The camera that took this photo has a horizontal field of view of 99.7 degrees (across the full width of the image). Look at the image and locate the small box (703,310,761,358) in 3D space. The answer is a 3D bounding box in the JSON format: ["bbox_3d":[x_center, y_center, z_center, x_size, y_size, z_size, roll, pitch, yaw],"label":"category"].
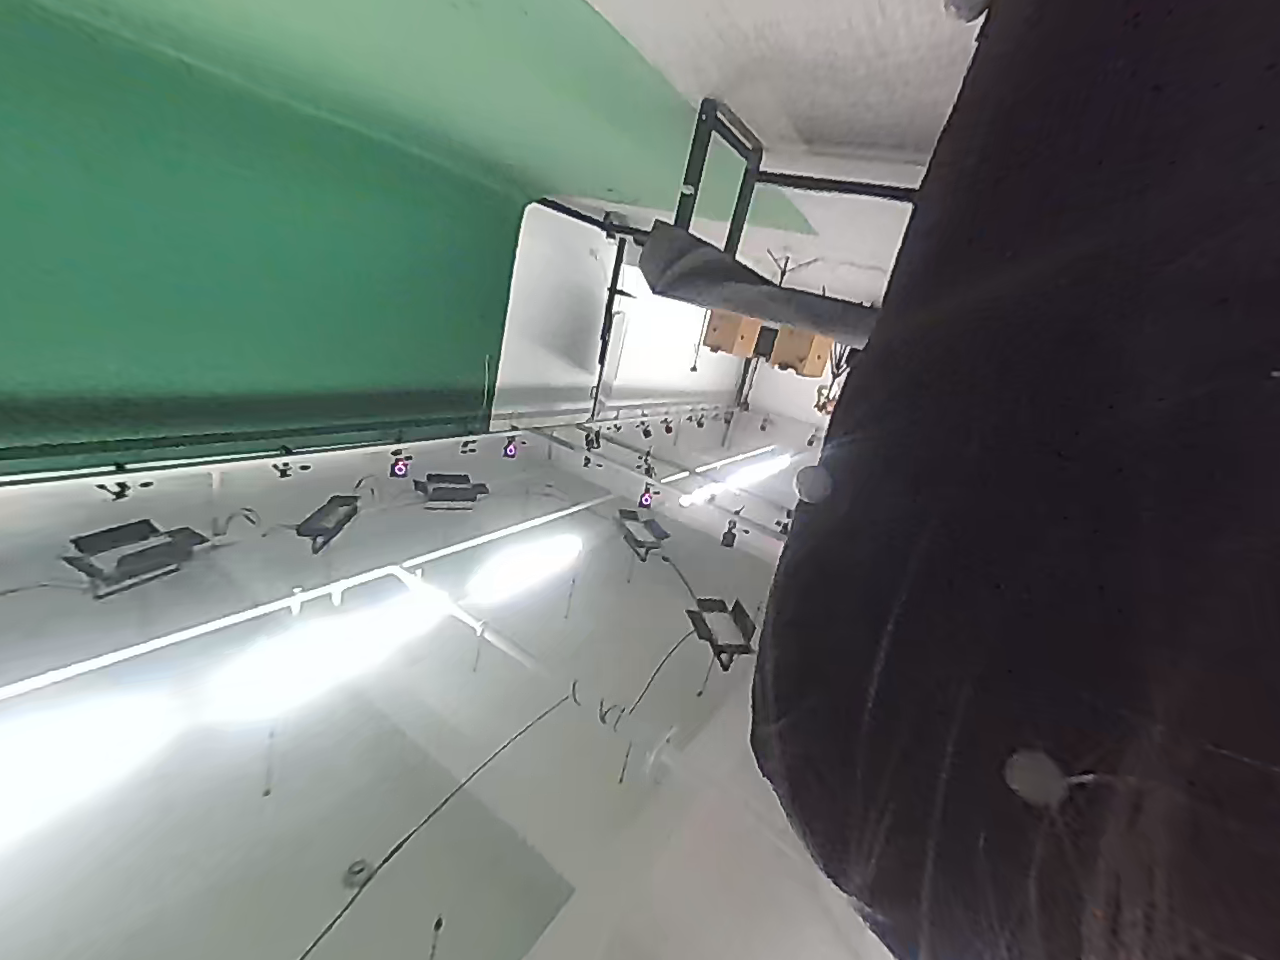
[{"bbox_3d":[0.408,-0.646,2.389,0.168,0.176,0.179,30,-155,36],"label":"small box"}]
